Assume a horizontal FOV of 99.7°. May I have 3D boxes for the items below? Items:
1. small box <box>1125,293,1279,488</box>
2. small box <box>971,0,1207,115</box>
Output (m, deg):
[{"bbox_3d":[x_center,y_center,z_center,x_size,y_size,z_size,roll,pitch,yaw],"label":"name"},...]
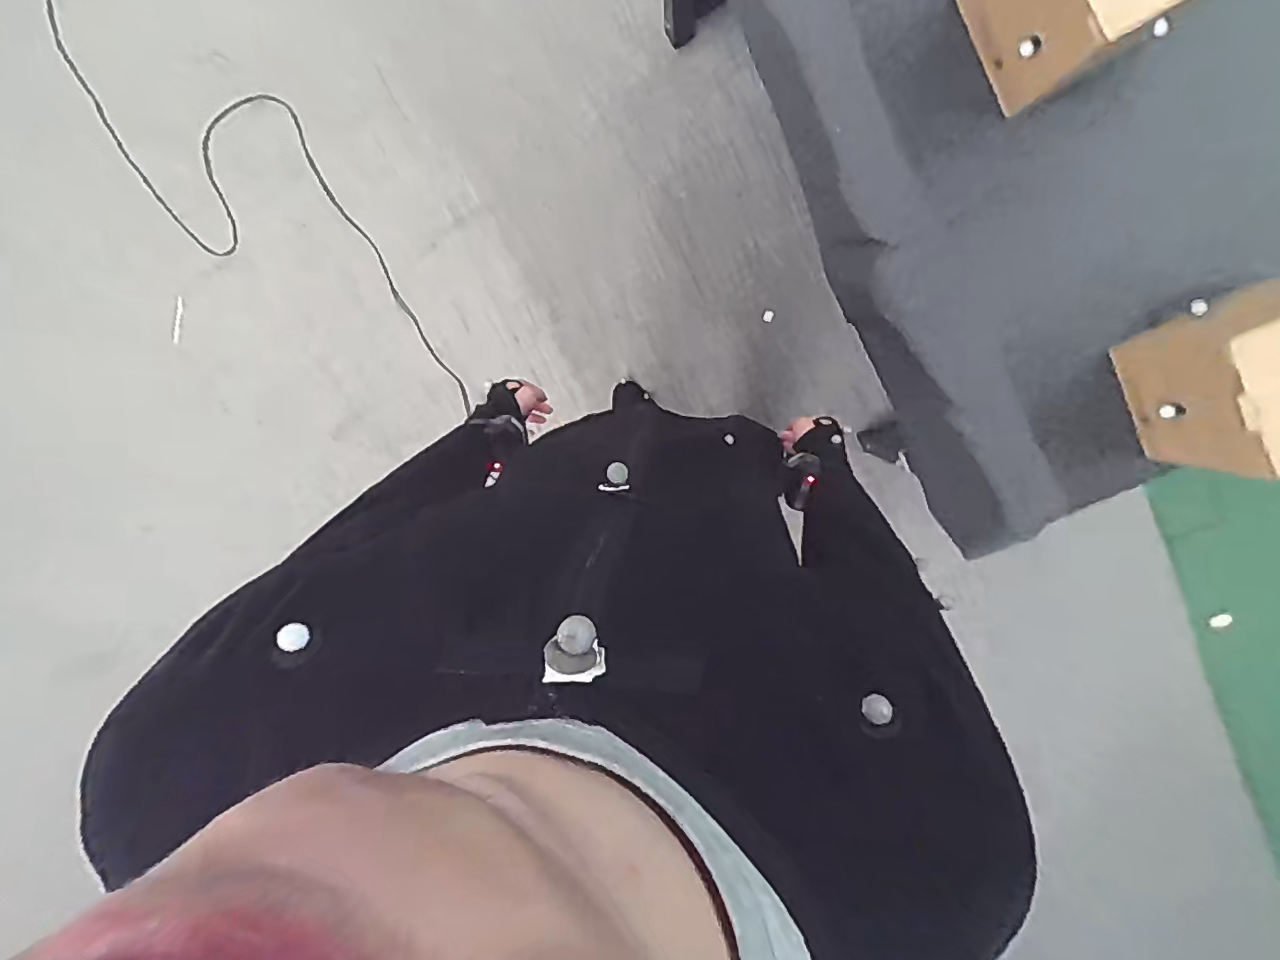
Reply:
[{"bbox_3d":[0.717,-0.109,0.622,0.179,0.176,0.168,-25,97,10],"label":"small box"},{"bbox_3d":[0.485,-0.534,0.565,0.179,0.176,0.168,-28,98,8],"label":"small box"}]
